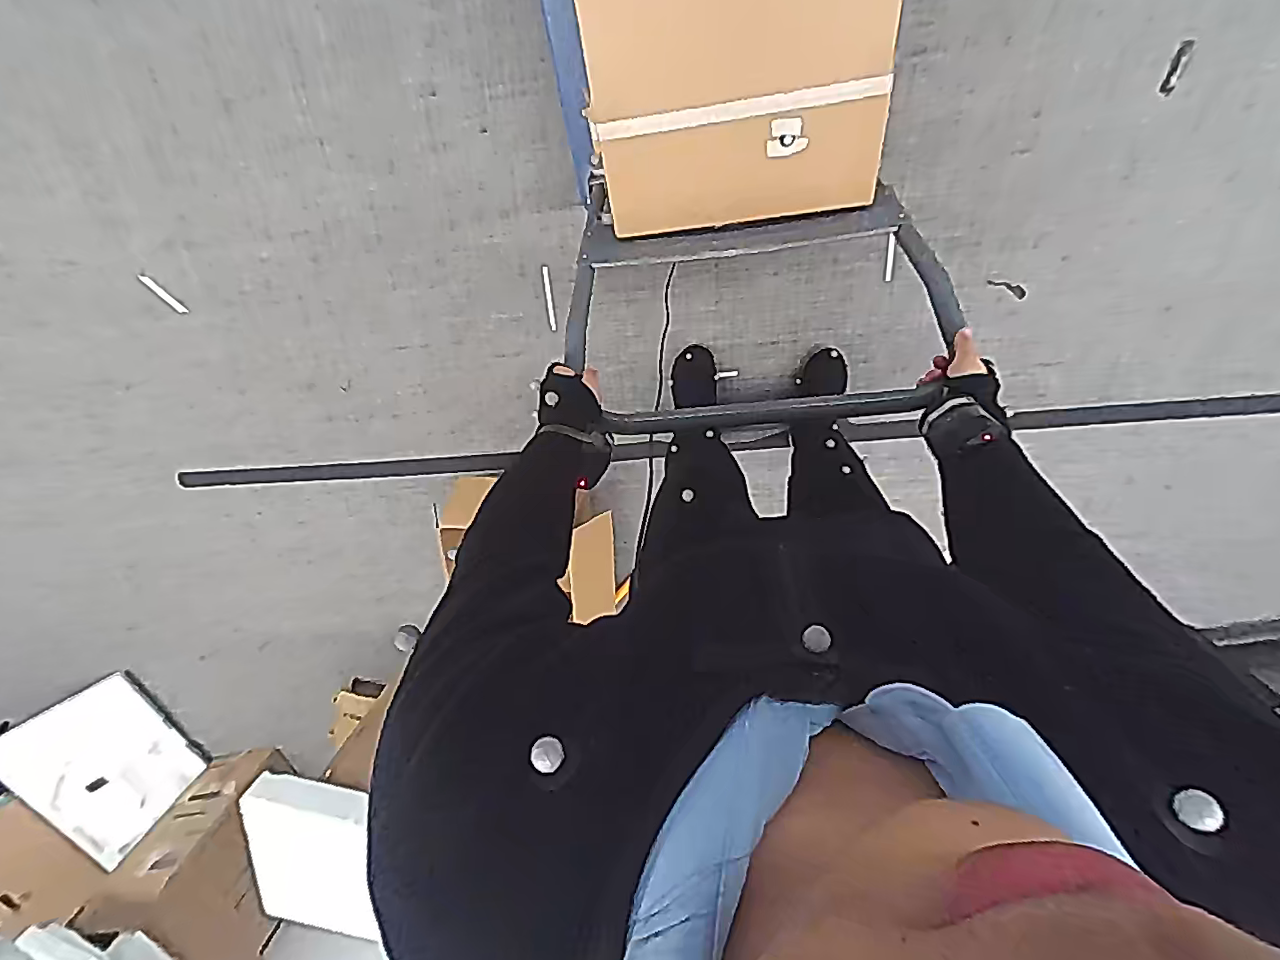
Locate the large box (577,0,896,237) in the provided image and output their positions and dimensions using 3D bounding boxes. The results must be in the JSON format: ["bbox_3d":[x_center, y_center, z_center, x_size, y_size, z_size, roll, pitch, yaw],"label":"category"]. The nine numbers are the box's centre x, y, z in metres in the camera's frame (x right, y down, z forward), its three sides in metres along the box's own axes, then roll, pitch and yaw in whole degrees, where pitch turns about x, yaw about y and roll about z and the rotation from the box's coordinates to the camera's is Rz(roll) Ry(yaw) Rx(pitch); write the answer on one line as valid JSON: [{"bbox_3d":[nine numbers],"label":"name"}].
[{"bbox_3d":[0.141,-0.631,0.861,0.408,0.320,0.320,-6,136,7],"label":"large box"}]
